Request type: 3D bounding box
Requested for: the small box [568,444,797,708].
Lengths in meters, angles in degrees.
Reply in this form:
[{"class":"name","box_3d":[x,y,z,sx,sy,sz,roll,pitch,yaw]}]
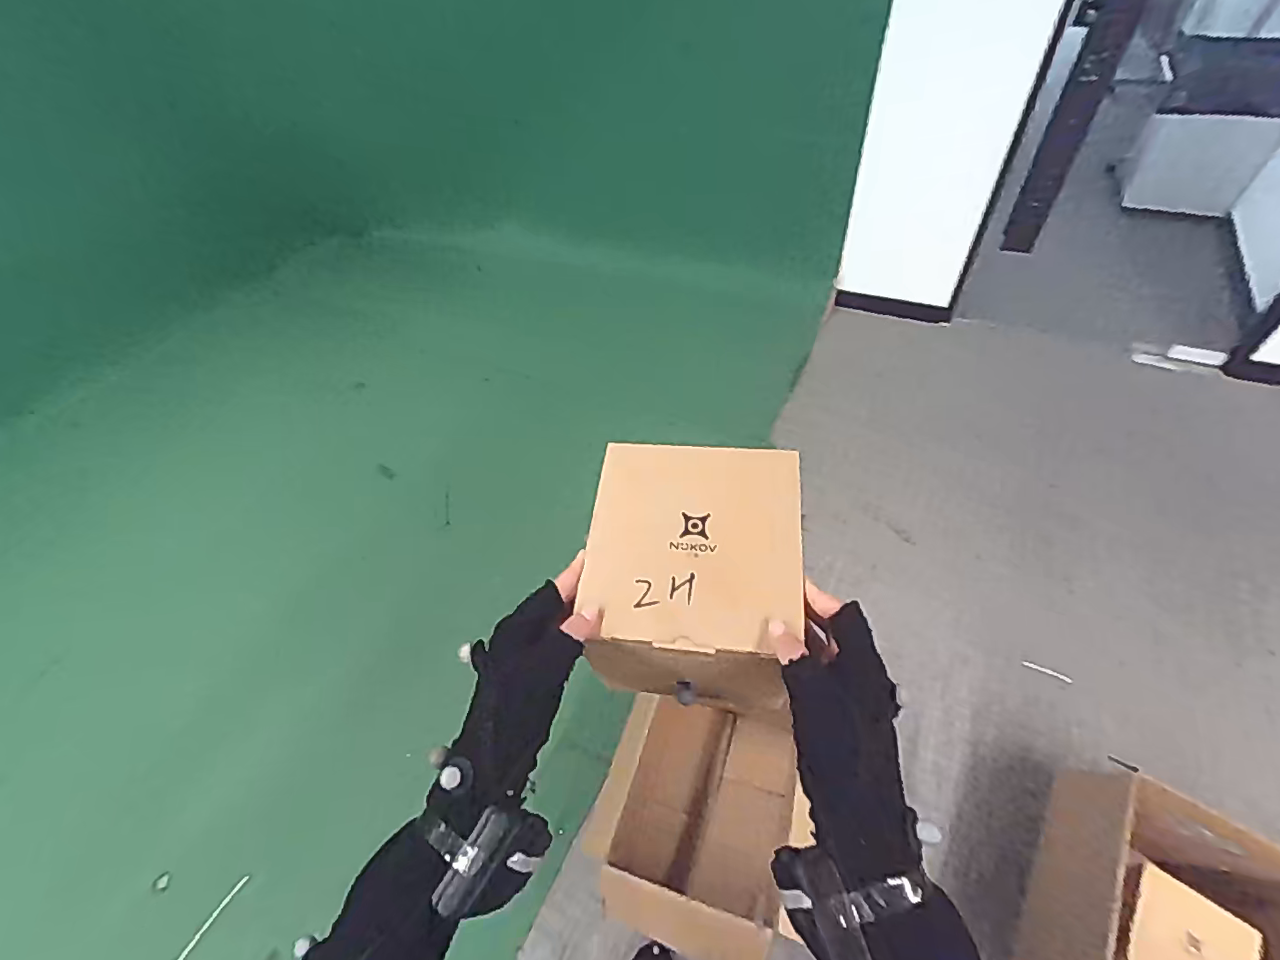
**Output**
[{"class":"small box","box_3d":[0.047,0.090,0.490,0.168,0.176,0.179,3,57,10]}]
